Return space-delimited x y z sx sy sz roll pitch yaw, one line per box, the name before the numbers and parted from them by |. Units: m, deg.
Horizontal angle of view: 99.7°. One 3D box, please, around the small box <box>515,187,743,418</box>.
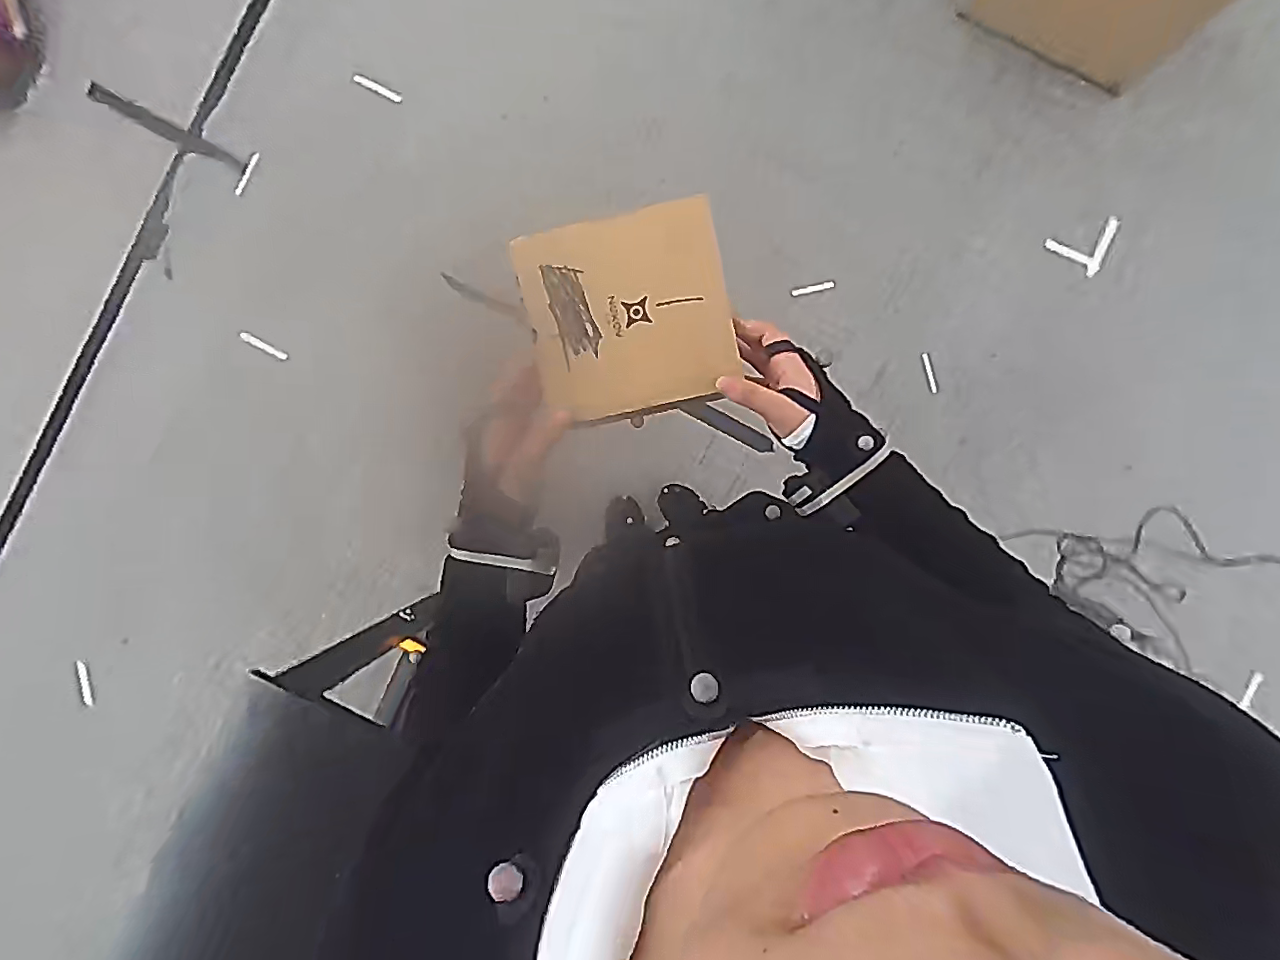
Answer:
small box | -0.005 -0.157 0.541 0.179 0.176 0.168 -11 95 3
